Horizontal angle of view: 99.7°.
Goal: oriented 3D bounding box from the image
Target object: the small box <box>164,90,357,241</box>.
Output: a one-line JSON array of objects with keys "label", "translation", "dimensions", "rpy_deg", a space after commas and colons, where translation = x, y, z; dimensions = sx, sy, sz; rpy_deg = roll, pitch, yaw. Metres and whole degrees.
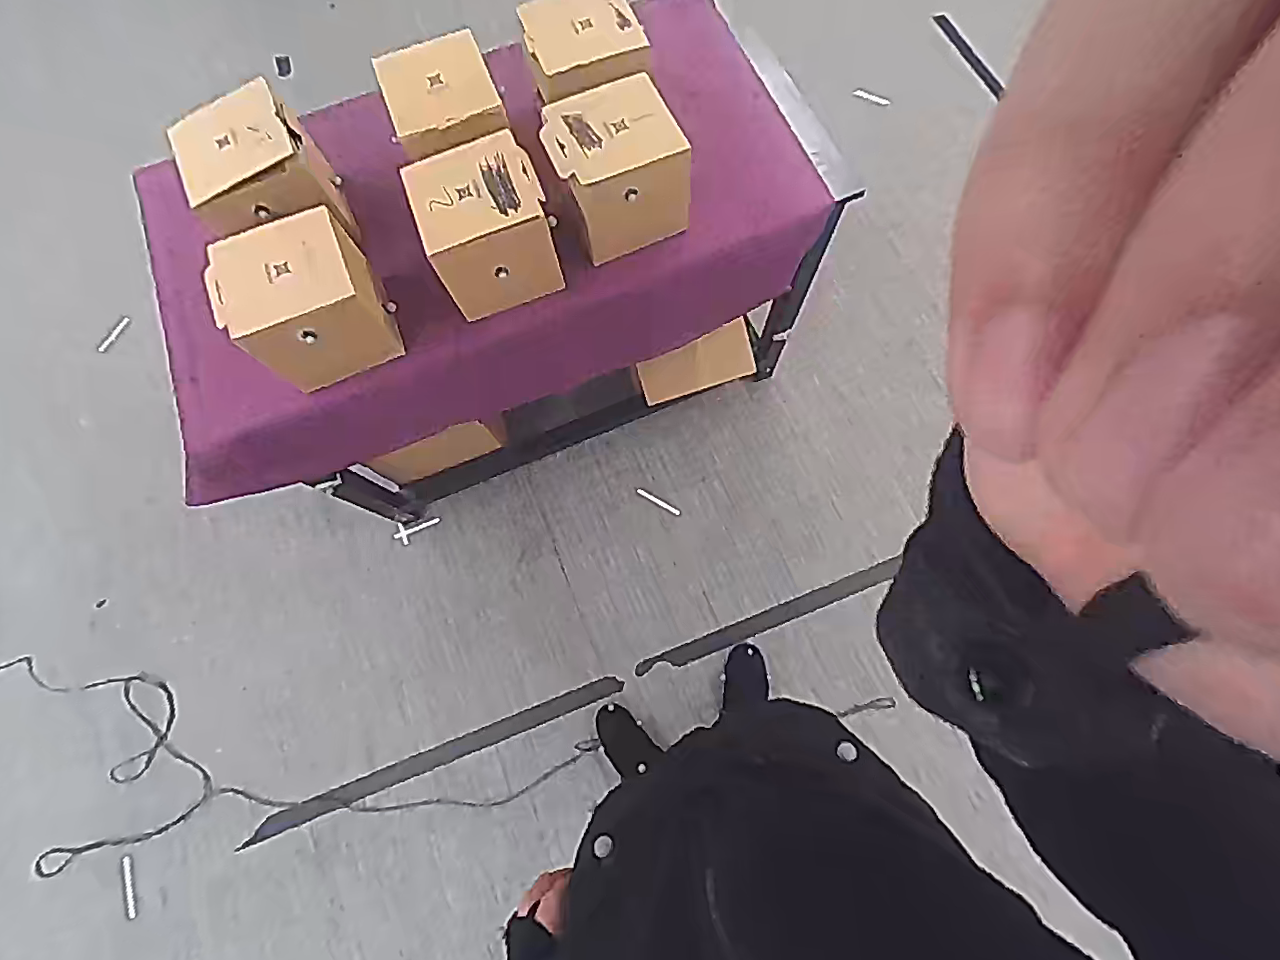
[{"label": "small box", "translation": [-0.605, -0.473, 0.879], "dimensions": [0.179, 0.176, 0.168], "rpy_deg": [-25, 76, -5]}]

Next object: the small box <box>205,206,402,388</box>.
[{"label": "small box", "translation": [-0.497, -0.265, 0.819], "dimensions": [0.179, 0.176, 0.168], "rpy_deg": [-23, 75, -5]}]
